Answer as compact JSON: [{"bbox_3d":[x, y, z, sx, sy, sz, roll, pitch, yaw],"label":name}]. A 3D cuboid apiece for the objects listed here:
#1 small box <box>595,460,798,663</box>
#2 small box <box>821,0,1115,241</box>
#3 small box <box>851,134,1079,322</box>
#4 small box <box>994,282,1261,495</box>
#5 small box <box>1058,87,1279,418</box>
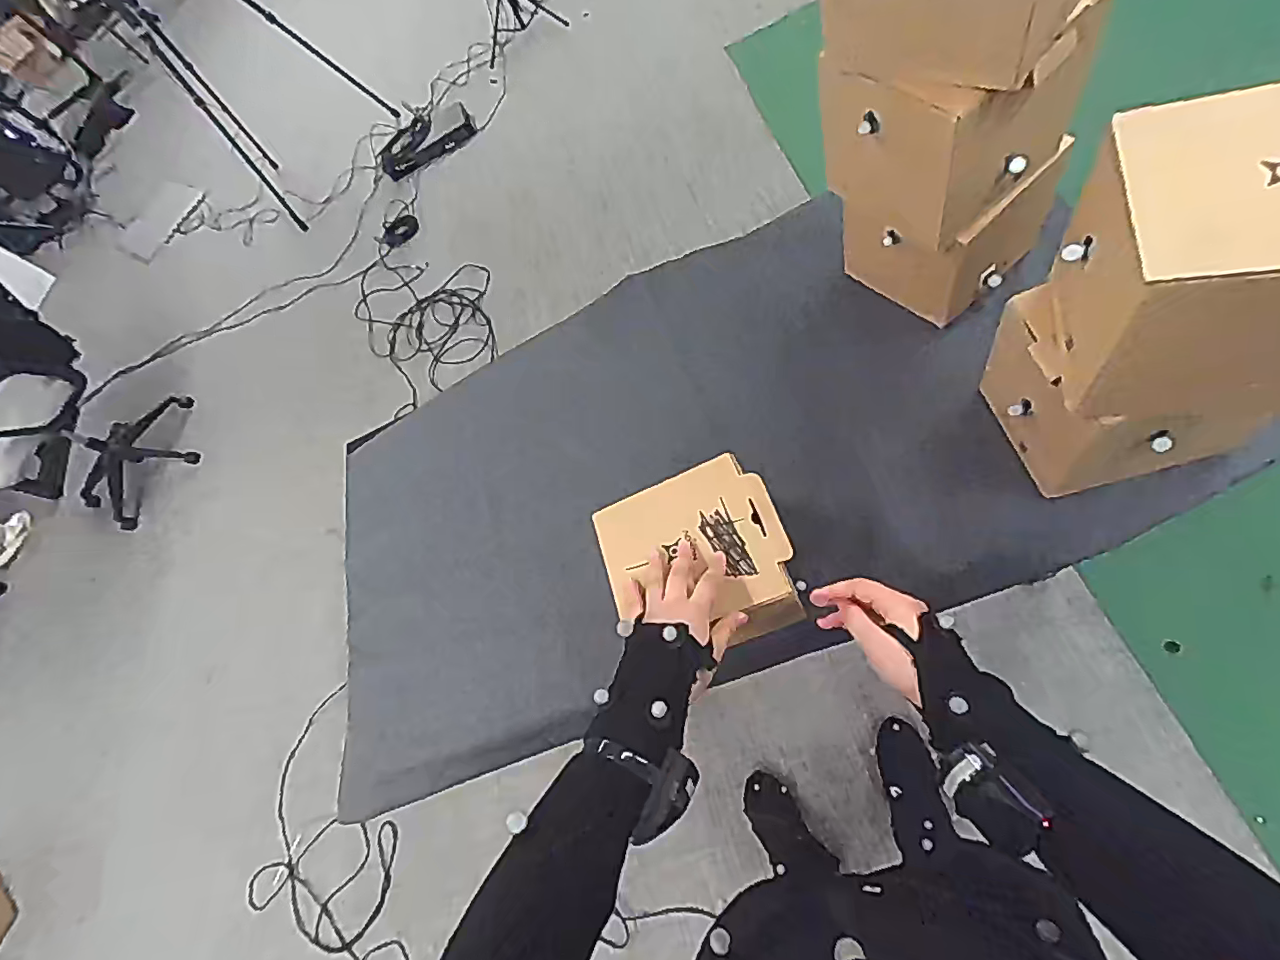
[{"bbox_3d":[0.074,0.105,0.634,0.179,0.176,0.168,-24,62,13],"label":"small box"},{"bbox_3d":[0.313,-0.384,0.552,0.168,0.176,0.179,-42,60,6],"label":"small box"},{"bbox_3d":[0.390,-0.337,0.692,0.168,0.176,0.179,-44,62,3],"label":"small box"},{"bbox_3d":[0.492,-0.103,0.552,0.179,0.176,0.168,-19,60,15],"label":"small box"},{"bbox_3d":[0.441,-0.157,0.405,0.179,0.176,0.168,2,67,23],"label":"small box"}]
